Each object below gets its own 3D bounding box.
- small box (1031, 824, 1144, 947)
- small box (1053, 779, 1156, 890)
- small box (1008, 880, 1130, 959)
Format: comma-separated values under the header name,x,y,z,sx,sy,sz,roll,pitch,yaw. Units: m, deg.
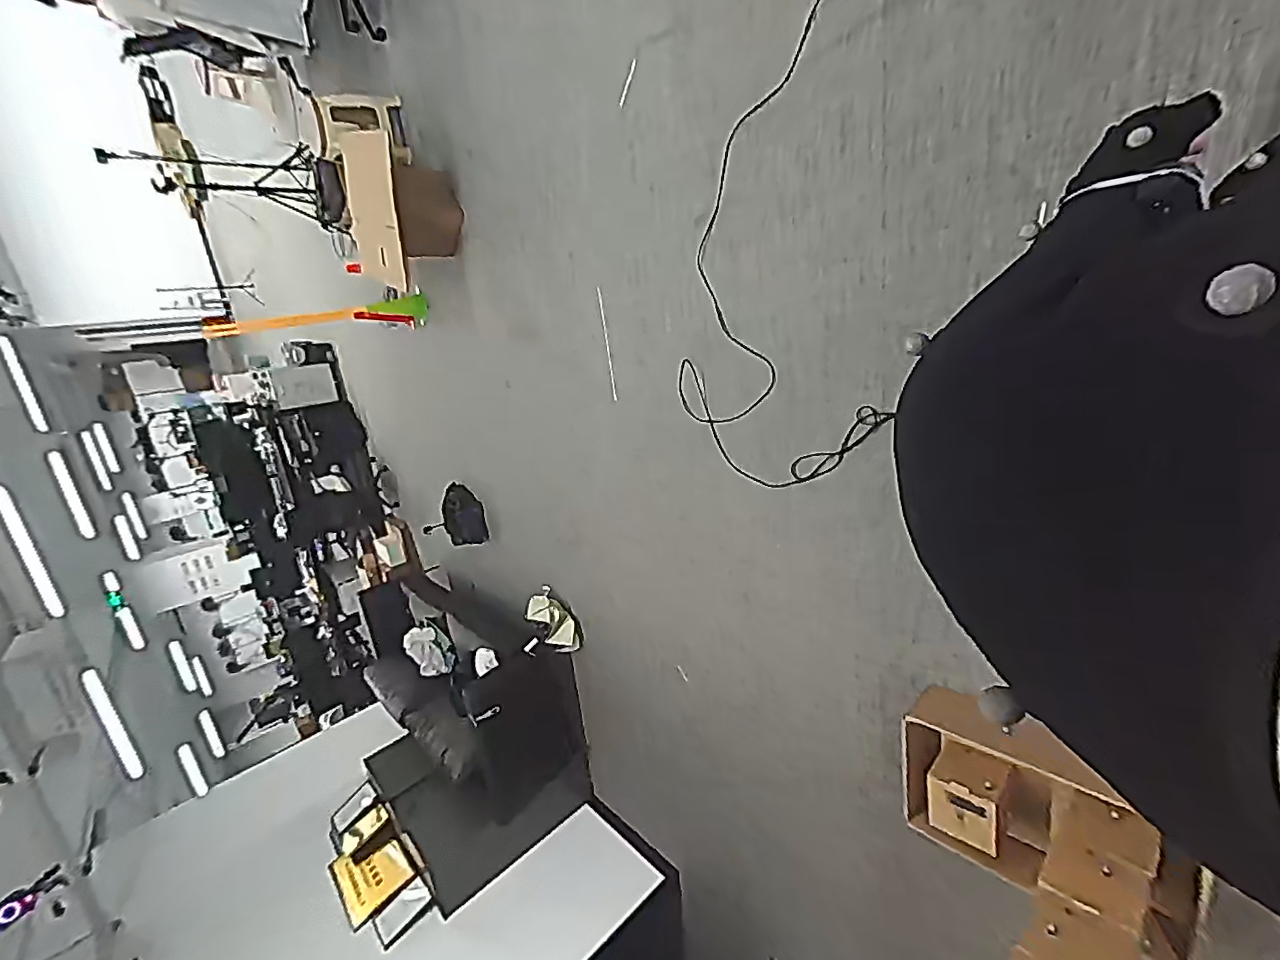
name,x,y,z,sx,sy,sz,roll,pitch,yaw
small box,0.985,0.921,1.195,0.168,0.176,0.179,10,115,49
small box,1.105,0.871,1.293,0.168,0.176,0.179,11,116,47
small box,0.867,0.976,1.096,0.168,0.176,0.179,8,114,50
